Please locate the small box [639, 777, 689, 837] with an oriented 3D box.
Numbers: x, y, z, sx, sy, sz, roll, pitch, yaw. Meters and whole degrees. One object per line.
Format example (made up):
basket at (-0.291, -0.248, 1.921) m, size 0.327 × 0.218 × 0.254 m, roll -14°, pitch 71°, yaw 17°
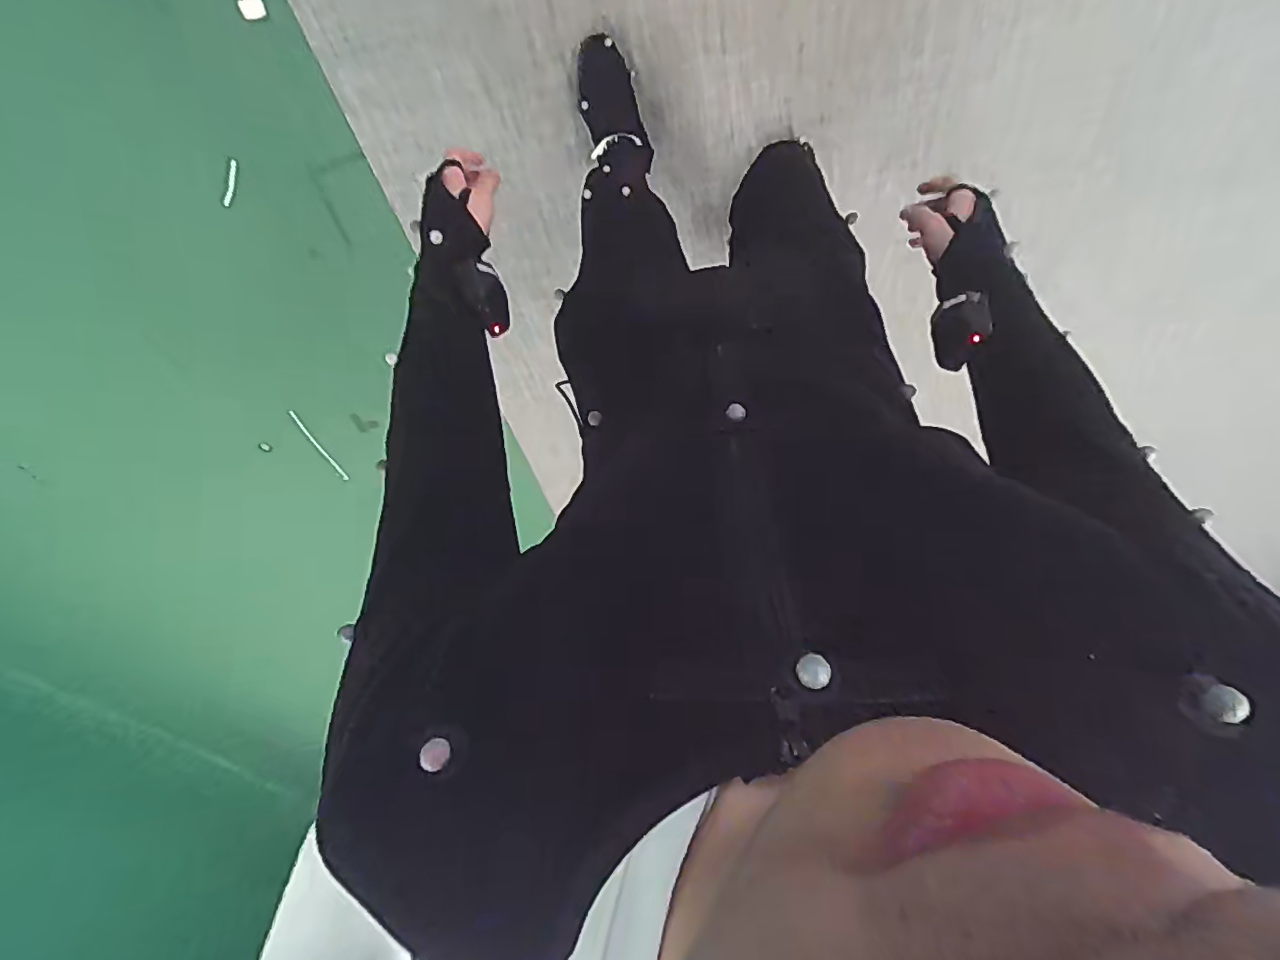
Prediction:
small box at (0.094, 1.290, 2.134) m, size 0.168 × 0.176 × 0.179 m, roll -12°, pitch 134°, yaw 9°
